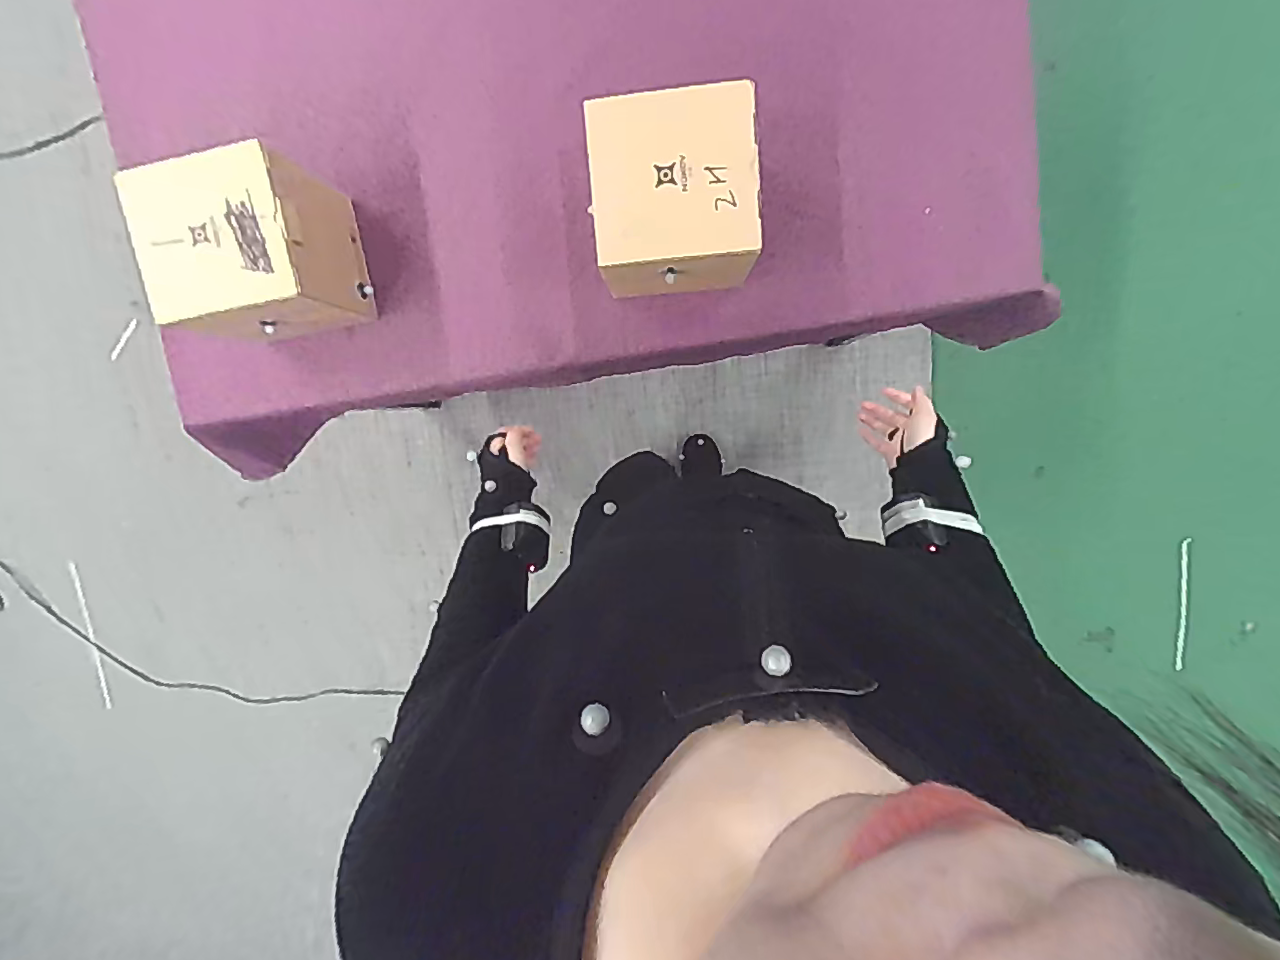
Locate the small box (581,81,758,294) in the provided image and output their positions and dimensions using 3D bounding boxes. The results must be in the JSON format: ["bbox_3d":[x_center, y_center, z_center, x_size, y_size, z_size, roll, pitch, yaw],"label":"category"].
[{"bbox_3d":[0.036,-0.322,0.633,0.179,0.176,0.168,-4,98,4],"label":"small box"}]

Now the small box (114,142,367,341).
[{"bbox_3d":[-0.467,-0.277,0.668,0.179,0.176,0.168,-10,97,5],"label":"small box"}]
